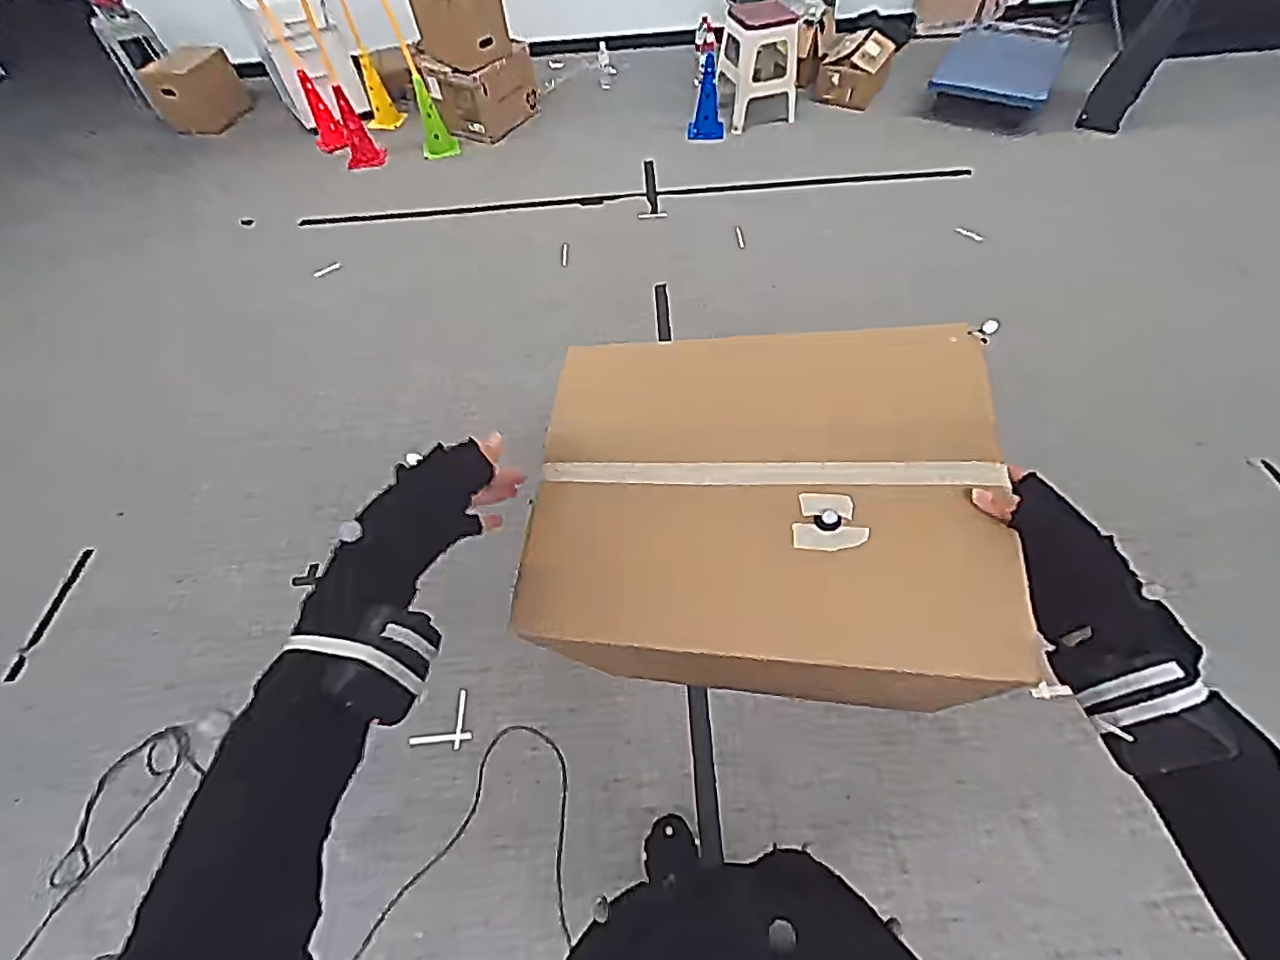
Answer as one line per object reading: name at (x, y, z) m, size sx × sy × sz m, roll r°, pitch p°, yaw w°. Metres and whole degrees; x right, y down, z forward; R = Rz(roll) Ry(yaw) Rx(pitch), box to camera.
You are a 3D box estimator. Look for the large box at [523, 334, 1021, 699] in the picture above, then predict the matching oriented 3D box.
large box at (0.132, 0.064, 0.630) m, size 0.408 × 0.320 × 0.320 m, roll 0°, pitch 65°, yaw 15°
